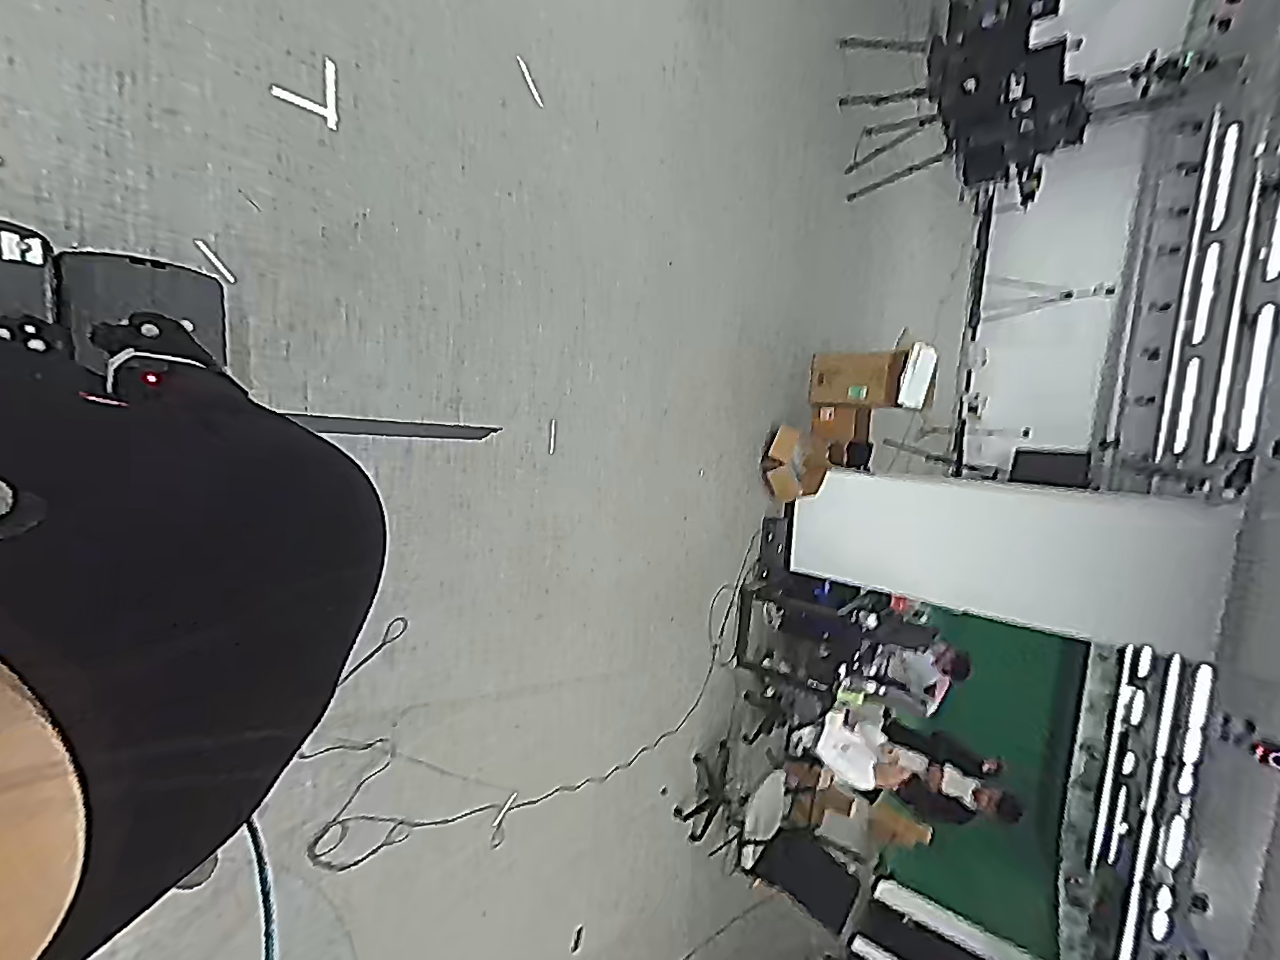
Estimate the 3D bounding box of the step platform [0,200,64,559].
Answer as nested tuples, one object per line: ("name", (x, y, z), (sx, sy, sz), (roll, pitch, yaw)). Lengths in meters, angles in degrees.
("step platform", (-1.272, -0.182, 0.974), (0.286, 0.204, 0.684), (-6, 100, -52))
